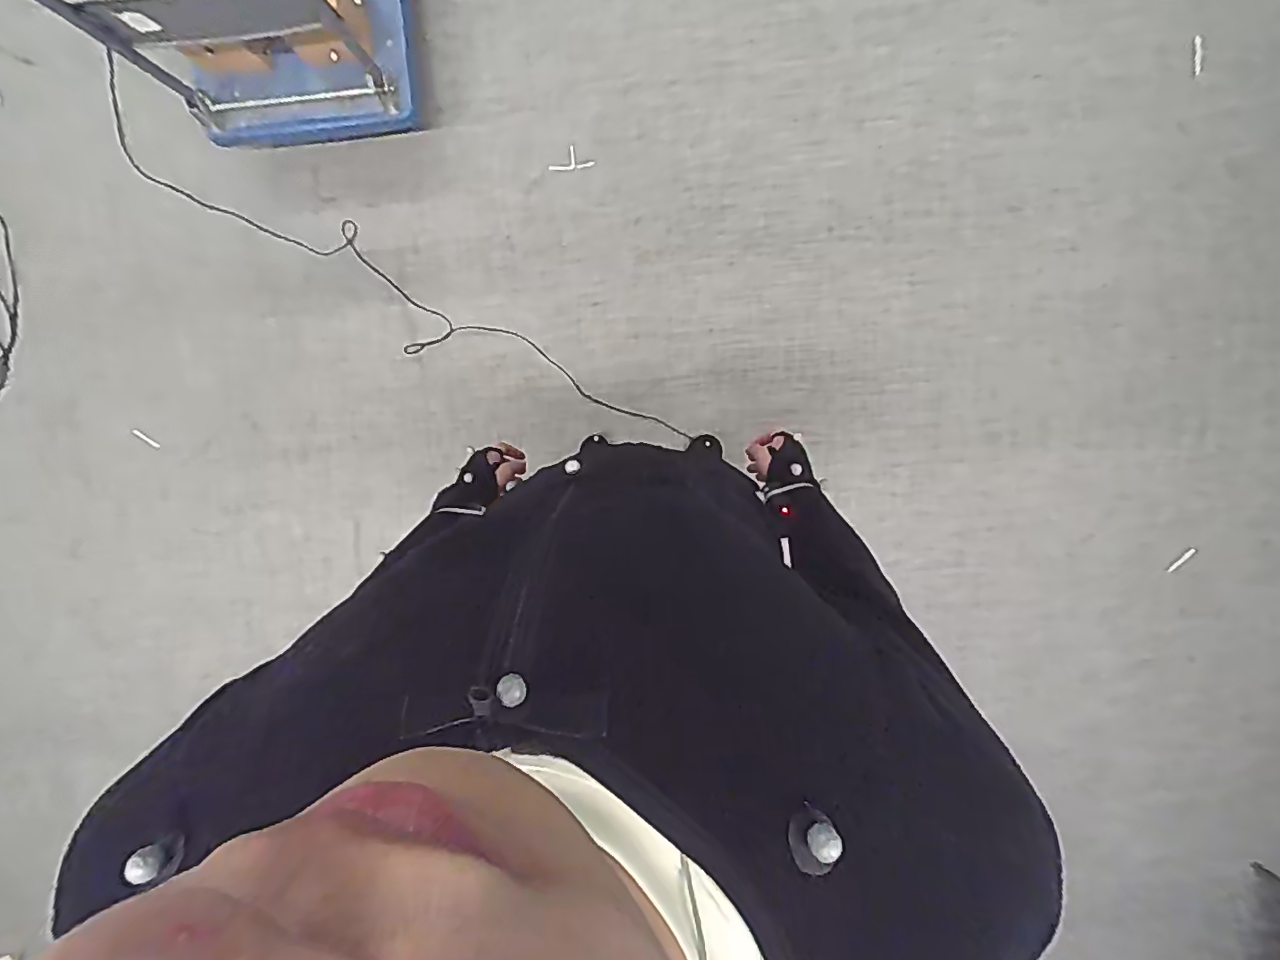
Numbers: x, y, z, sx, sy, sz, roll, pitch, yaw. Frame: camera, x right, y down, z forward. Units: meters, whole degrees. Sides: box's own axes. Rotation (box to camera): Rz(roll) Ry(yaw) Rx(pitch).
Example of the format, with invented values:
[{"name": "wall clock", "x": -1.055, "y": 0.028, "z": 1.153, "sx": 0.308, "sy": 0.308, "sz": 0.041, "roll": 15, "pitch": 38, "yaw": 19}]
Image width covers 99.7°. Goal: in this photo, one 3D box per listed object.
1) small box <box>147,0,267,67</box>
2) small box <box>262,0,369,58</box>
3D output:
[{"name": "small box", "x": -1.035, "y": -1.138, "z": 1.303, "sx": 0.179, "sy": 0.176, "sz": 0.168, "roll": -1, "pitch": 95, "yaw": 3}, {"name": "small box", "x": -0.772, "y": -1.156, "z": 1.291, "sx": 0.179, "sy": 0.176, "sz": 0.168, "roll": -6, "pitch": 95, "yaw": 2}]
